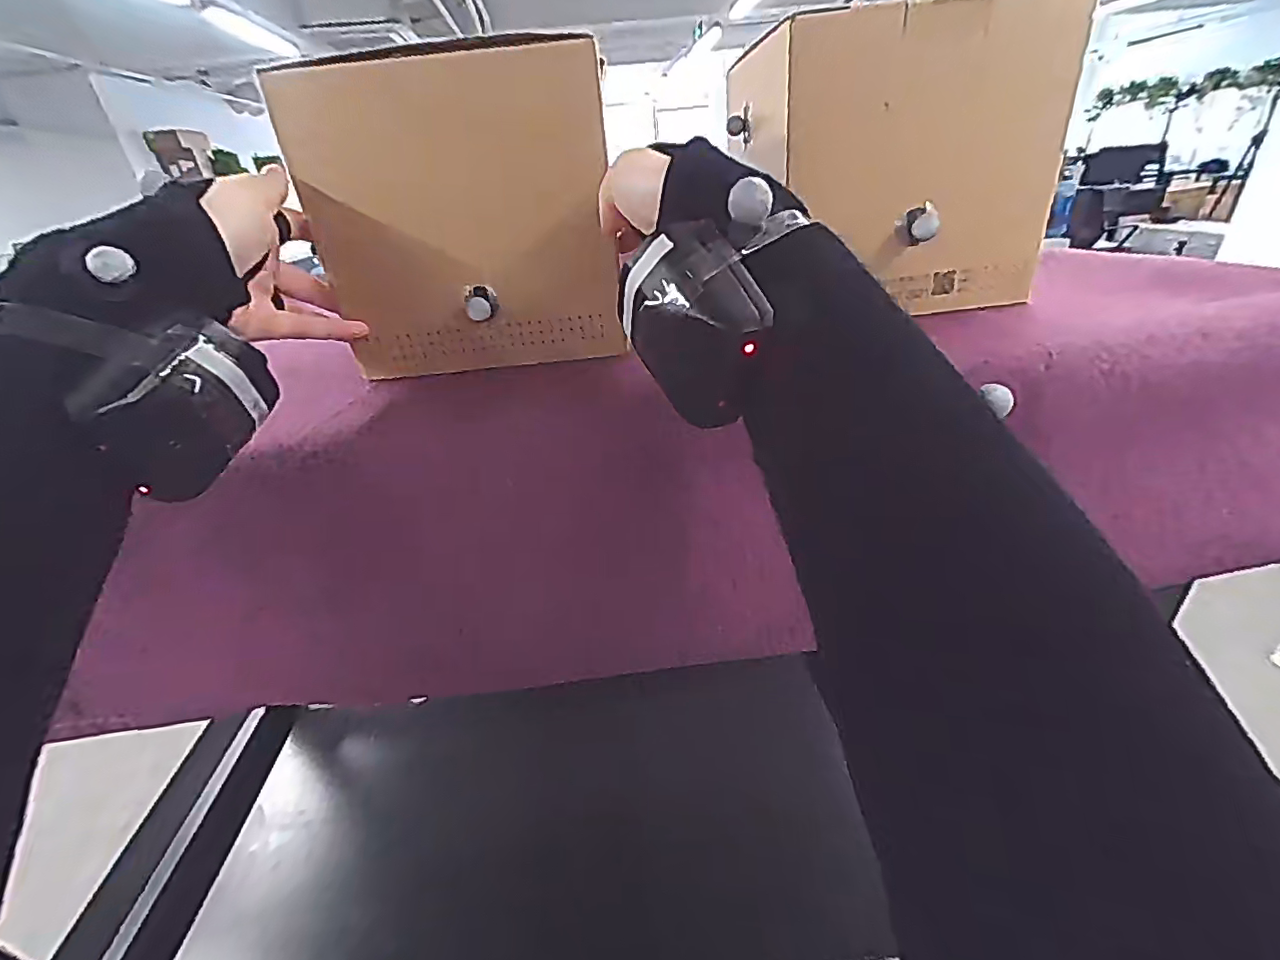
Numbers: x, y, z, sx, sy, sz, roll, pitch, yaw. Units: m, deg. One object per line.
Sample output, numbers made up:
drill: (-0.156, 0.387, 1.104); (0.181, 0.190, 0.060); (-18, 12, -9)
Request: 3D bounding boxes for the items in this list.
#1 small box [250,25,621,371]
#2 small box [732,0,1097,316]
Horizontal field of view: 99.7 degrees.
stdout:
small box: (-0.104, -0.183, 0.374); (0.179, 0.176, 0.168); (-5, 29, 0)
small box: (0.162, -0.222, 0.389); (0.168, 0.176, 0.179); (-7, 29, 0)
